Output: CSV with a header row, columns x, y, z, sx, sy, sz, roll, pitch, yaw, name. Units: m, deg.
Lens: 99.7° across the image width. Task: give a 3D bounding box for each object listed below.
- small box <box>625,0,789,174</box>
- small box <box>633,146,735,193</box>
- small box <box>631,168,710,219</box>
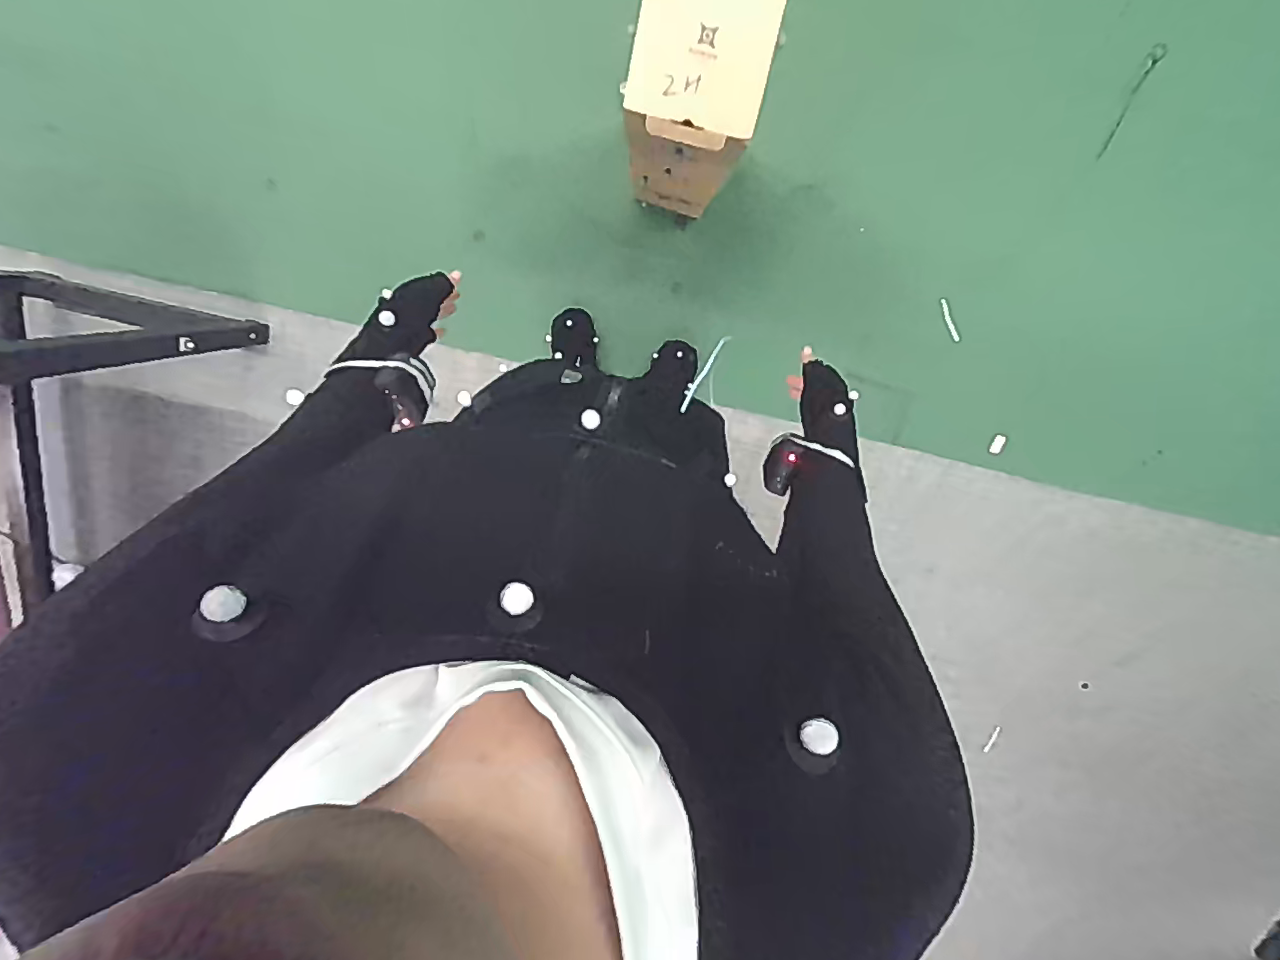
x,y,z,sx,sy,sz,roll,pitch,yaw,name
0.078,-0.540,0.723,0.168,0.176,0.179,13,108,-4,small box
0.083,-0.594,0.879,0.168,0.176,0.179,13,108,-4,small box
0.085,-0.694,1.191,0.168,0.176,0.179,15,108,-5,small box
